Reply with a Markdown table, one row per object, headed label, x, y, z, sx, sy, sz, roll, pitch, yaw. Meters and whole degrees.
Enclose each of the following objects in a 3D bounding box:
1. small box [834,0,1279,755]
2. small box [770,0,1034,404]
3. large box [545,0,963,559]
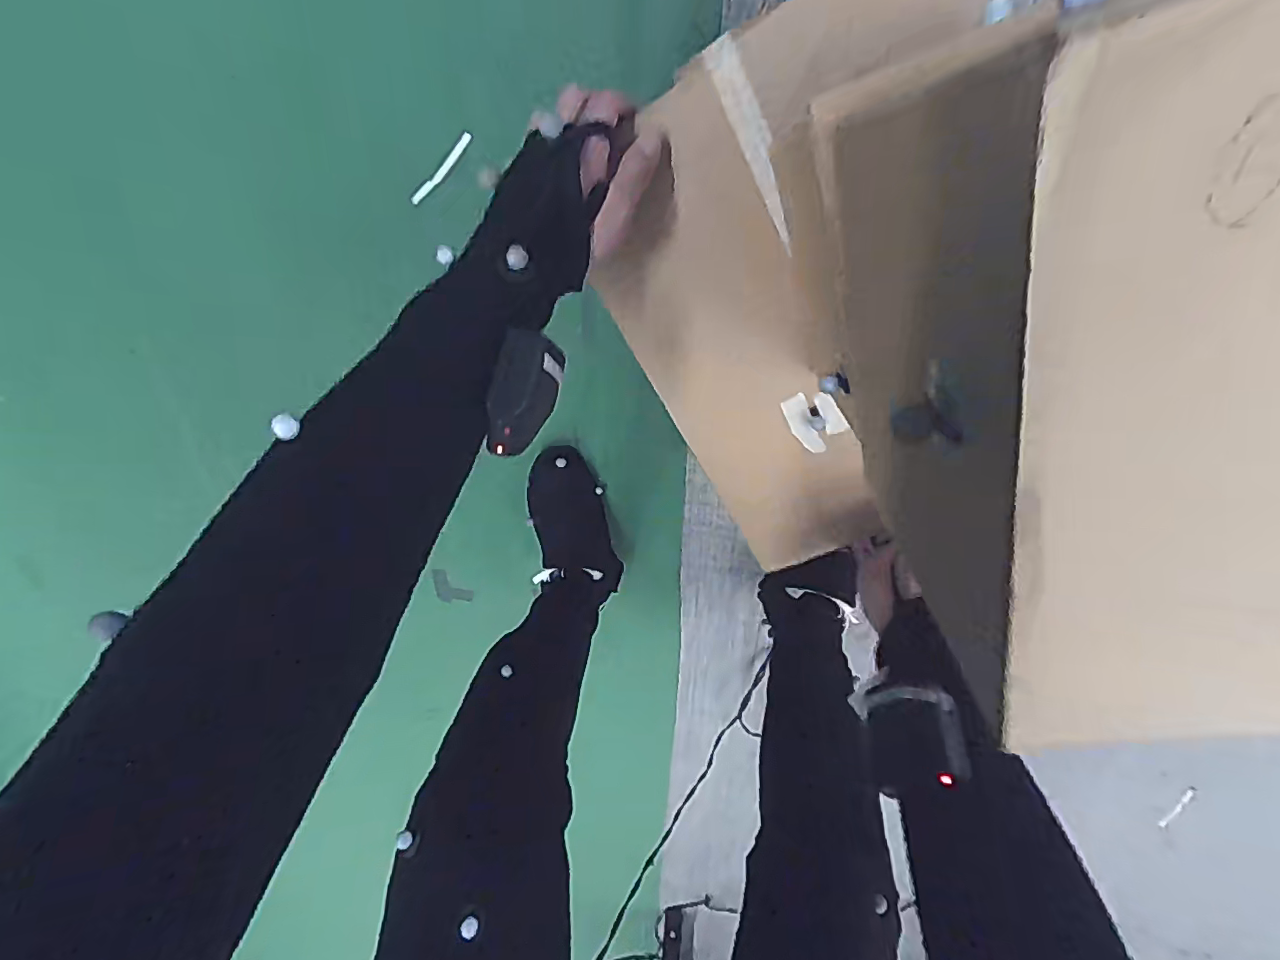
| label | x | y | z | sx | sy | sz | roll | pitch | yaw |
| --- | --- | --- | --- | --- | --- | --- | --- | --- | --- |
| small box | 0.166 | -0.053 | 0.163 | 0.168 | 0.176 | 0.179 | -12 | 117 | 14 |
| small box | 0.178 | -0.146 | 0.297 | 0.168 | 0.176 | 0.179 | -17 | 115 | 16 |
| large box | 0.179 | -0.206 | 0.546 | 0.320 | 0.320 | 0.408 | -27 | 112 | 23 |
